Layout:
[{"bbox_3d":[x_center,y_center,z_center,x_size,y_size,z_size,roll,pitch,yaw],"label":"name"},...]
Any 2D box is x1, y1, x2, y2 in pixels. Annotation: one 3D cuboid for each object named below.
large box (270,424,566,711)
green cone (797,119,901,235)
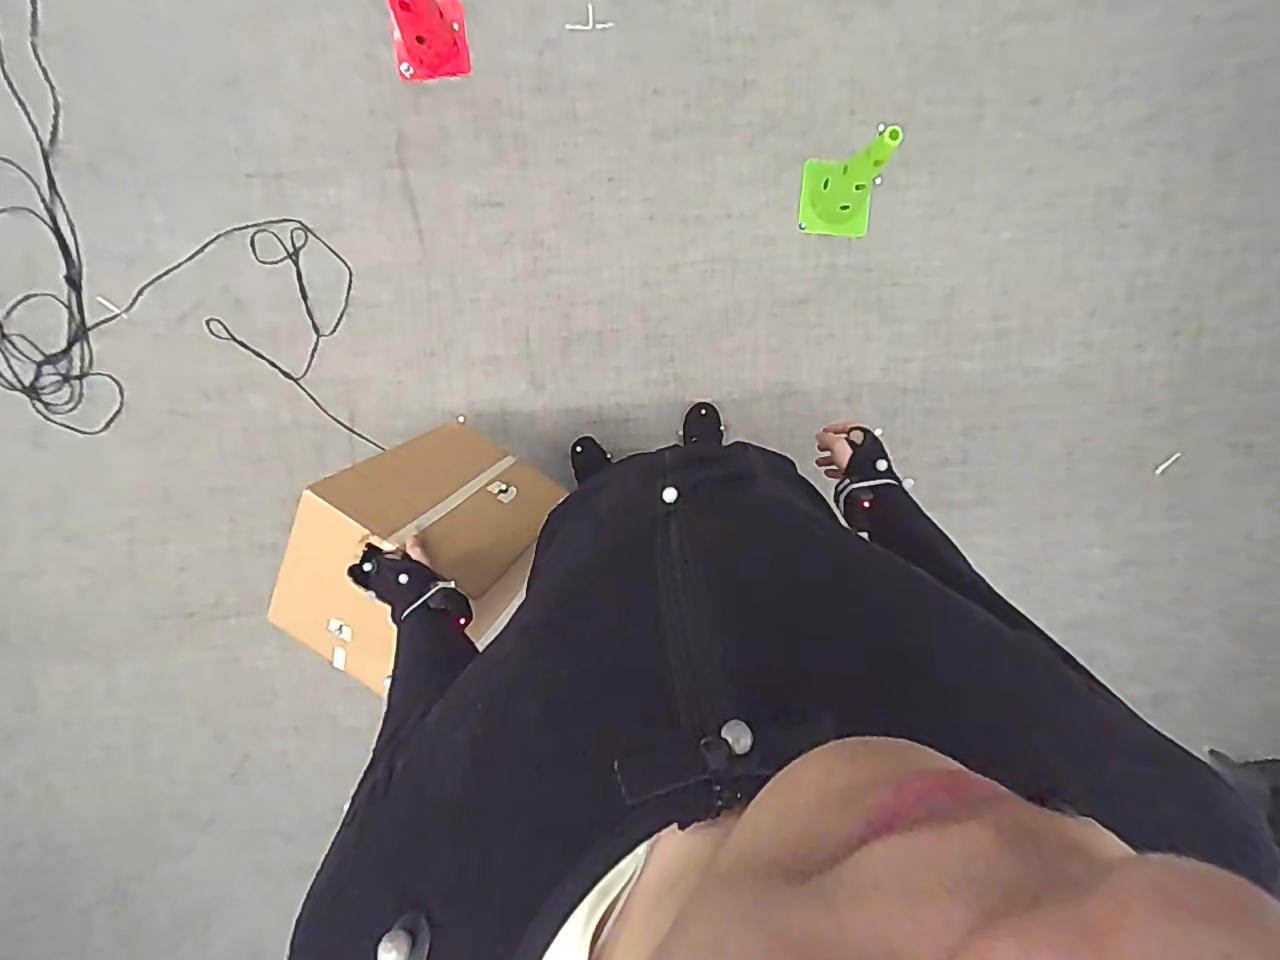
[{"bbox_3d":[-0.402,0.143,1.045,0.320,0.408,0.320,33,115,1],"label":"large box"},{"bbox_3d":[0.555,-0.788,1.368,0.200,0.368,0.202,3,96,-2],"label":"green cone"}]
